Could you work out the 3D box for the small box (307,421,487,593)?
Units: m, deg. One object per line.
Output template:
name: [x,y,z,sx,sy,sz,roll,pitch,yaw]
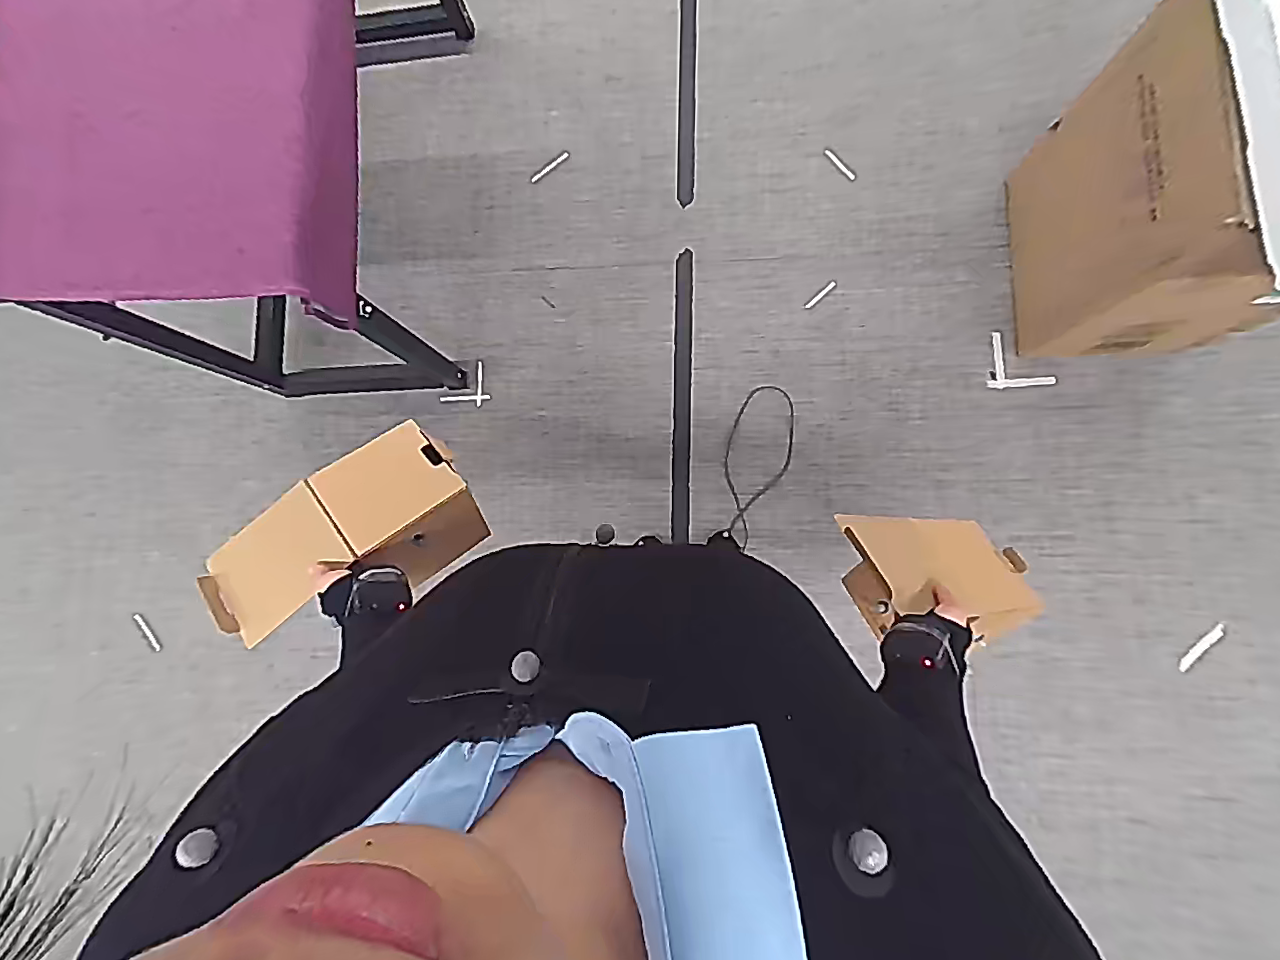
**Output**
small box: [-0.369,0.048,0.852,0.179,0.176,0.168,-37,67,-21]
